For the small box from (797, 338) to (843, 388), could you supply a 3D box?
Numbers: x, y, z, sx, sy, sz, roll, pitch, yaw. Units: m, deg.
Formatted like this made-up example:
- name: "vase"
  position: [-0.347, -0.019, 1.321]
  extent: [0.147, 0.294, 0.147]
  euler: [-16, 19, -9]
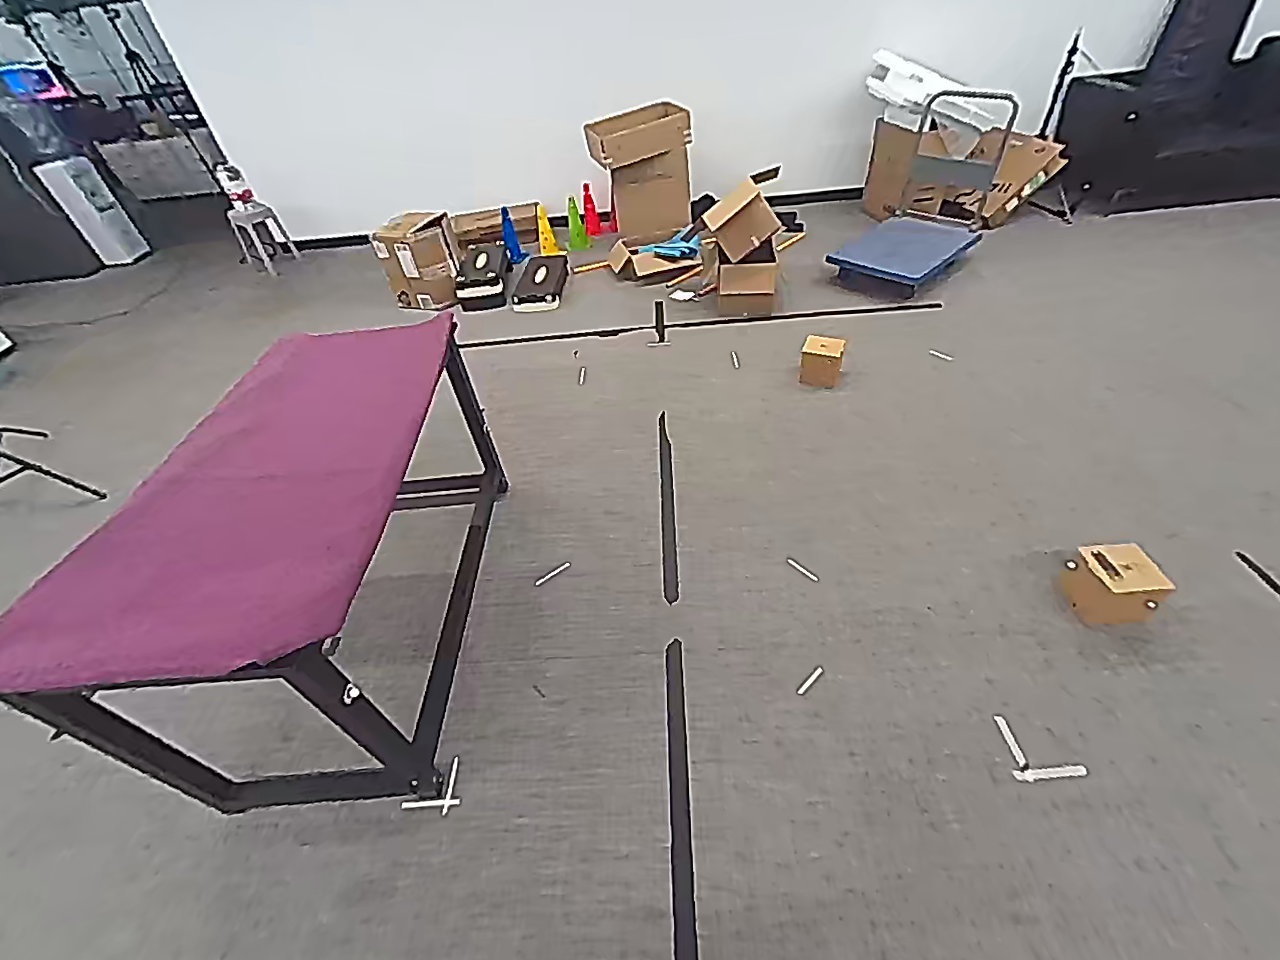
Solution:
- name: "small box"
  position: [0.865, -0.564, 2.607]
  extent: [0.179, 0.176, 0.168]
  euler: [14, 46, 20]
